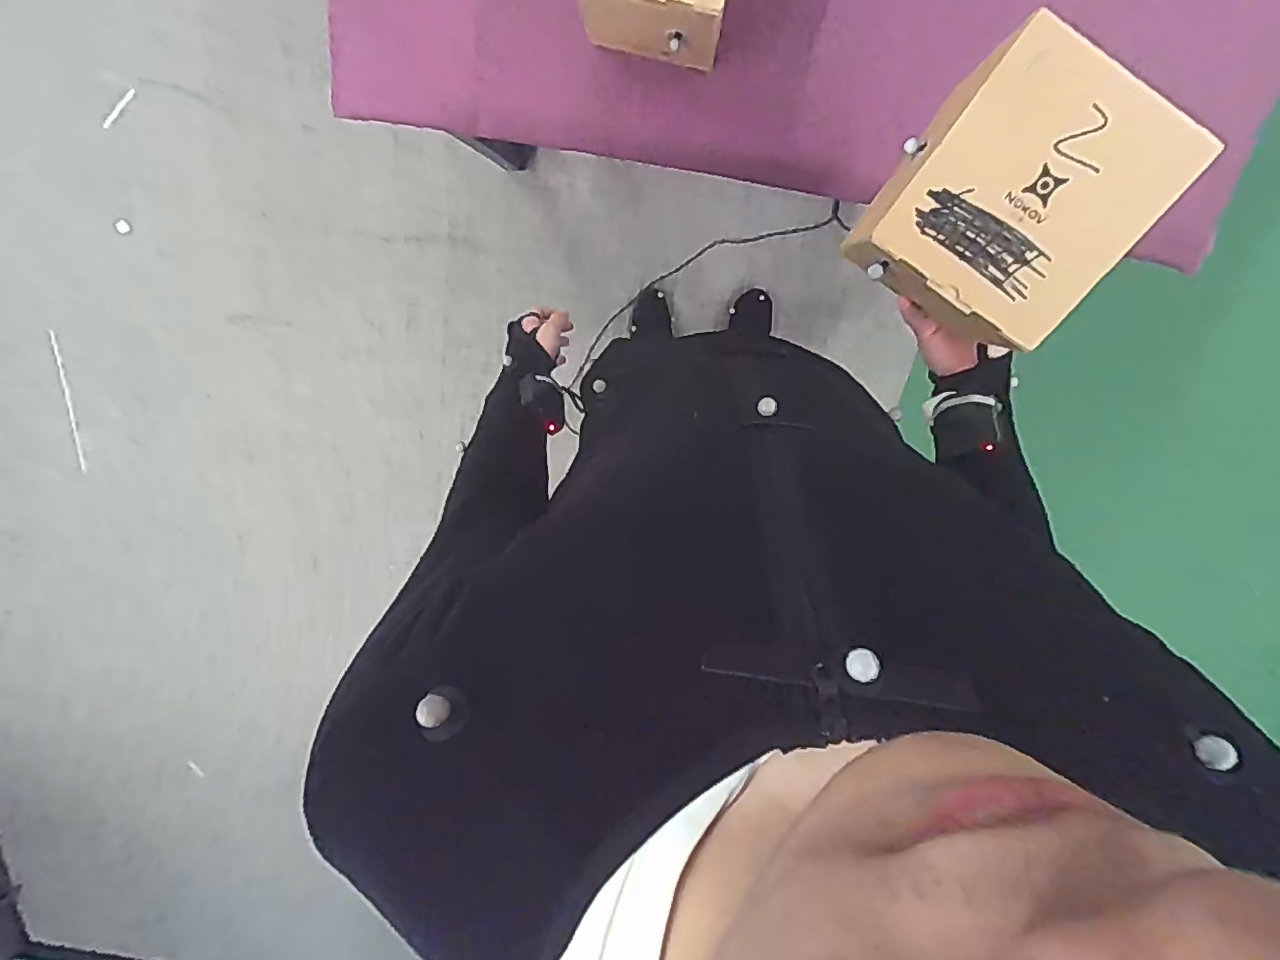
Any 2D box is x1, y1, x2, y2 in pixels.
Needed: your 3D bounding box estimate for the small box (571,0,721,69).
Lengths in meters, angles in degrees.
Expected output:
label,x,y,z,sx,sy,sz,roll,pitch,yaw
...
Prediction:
label,x,y,z,sx,sy,sz,roll,pitch,yaw
small box,0.020,-0.602,0.604,0.168,0.176,0.179,13,110,-3
